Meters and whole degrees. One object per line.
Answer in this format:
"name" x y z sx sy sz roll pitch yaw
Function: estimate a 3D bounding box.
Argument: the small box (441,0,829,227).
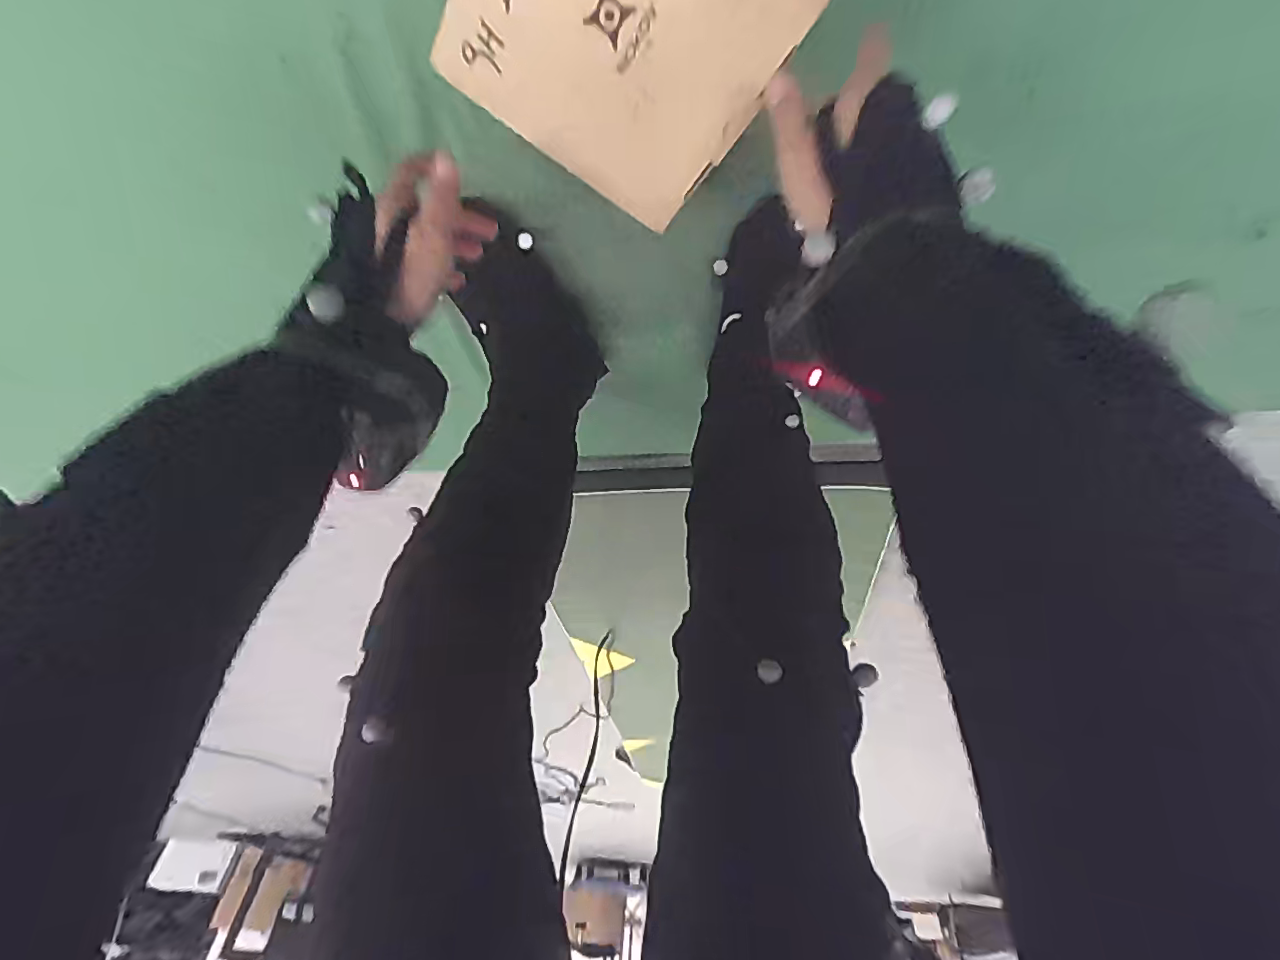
"small box" -0.003 -0.324 0.370 0.179 0.176 0.168 27 134 -24
